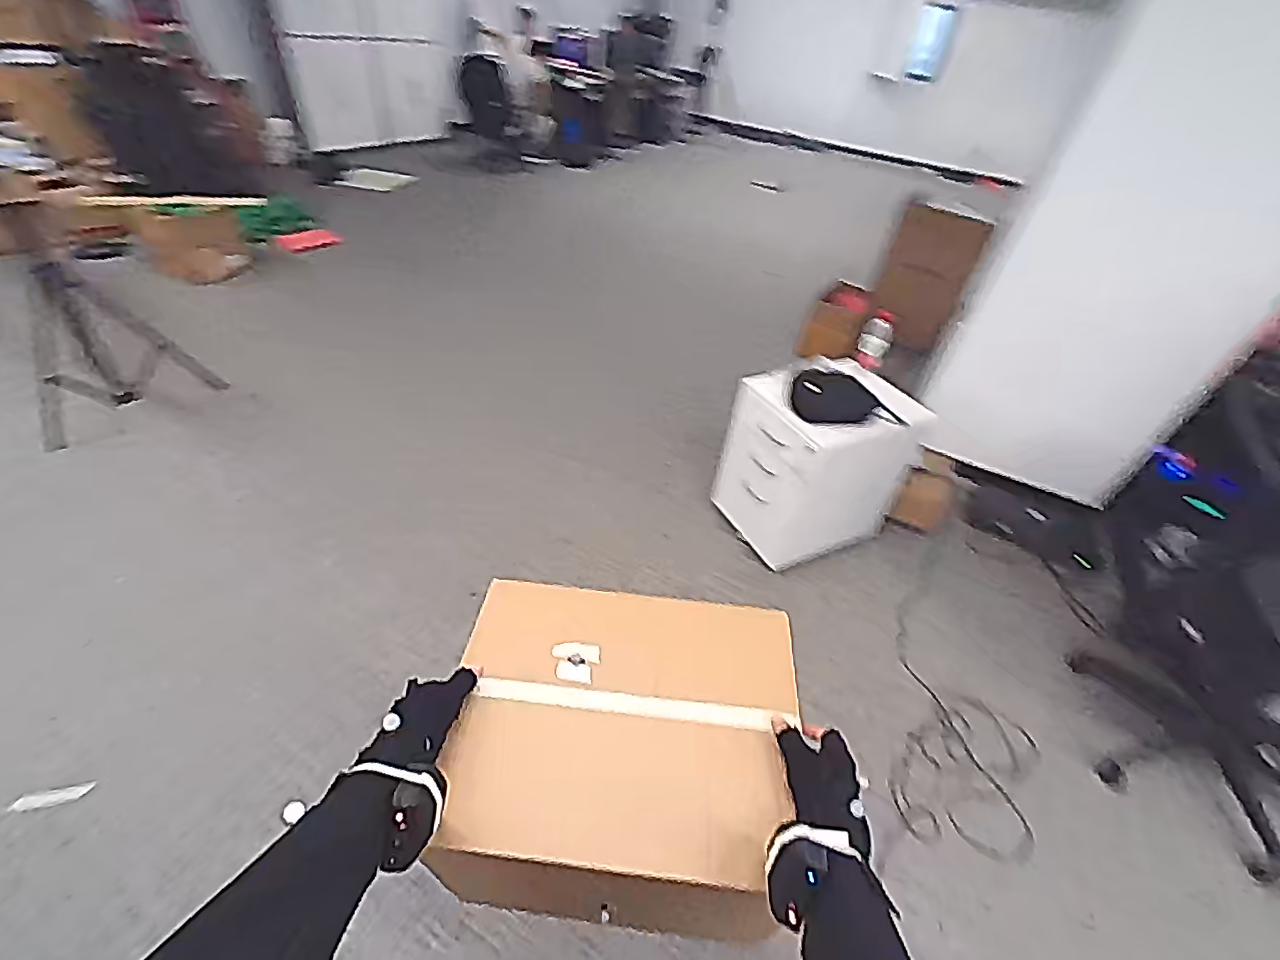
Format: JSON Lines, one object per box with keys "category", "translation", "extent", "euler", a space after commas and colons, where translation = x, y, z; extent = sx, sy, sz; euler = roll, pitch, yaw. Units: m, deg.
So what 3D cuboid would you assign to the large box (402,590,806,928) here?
{"category": "large box", "translation": [-0.030, 0.377, 0.734], "extent": [0.408, 0.320, 0.320], "euler": [5, 42, 2]}
